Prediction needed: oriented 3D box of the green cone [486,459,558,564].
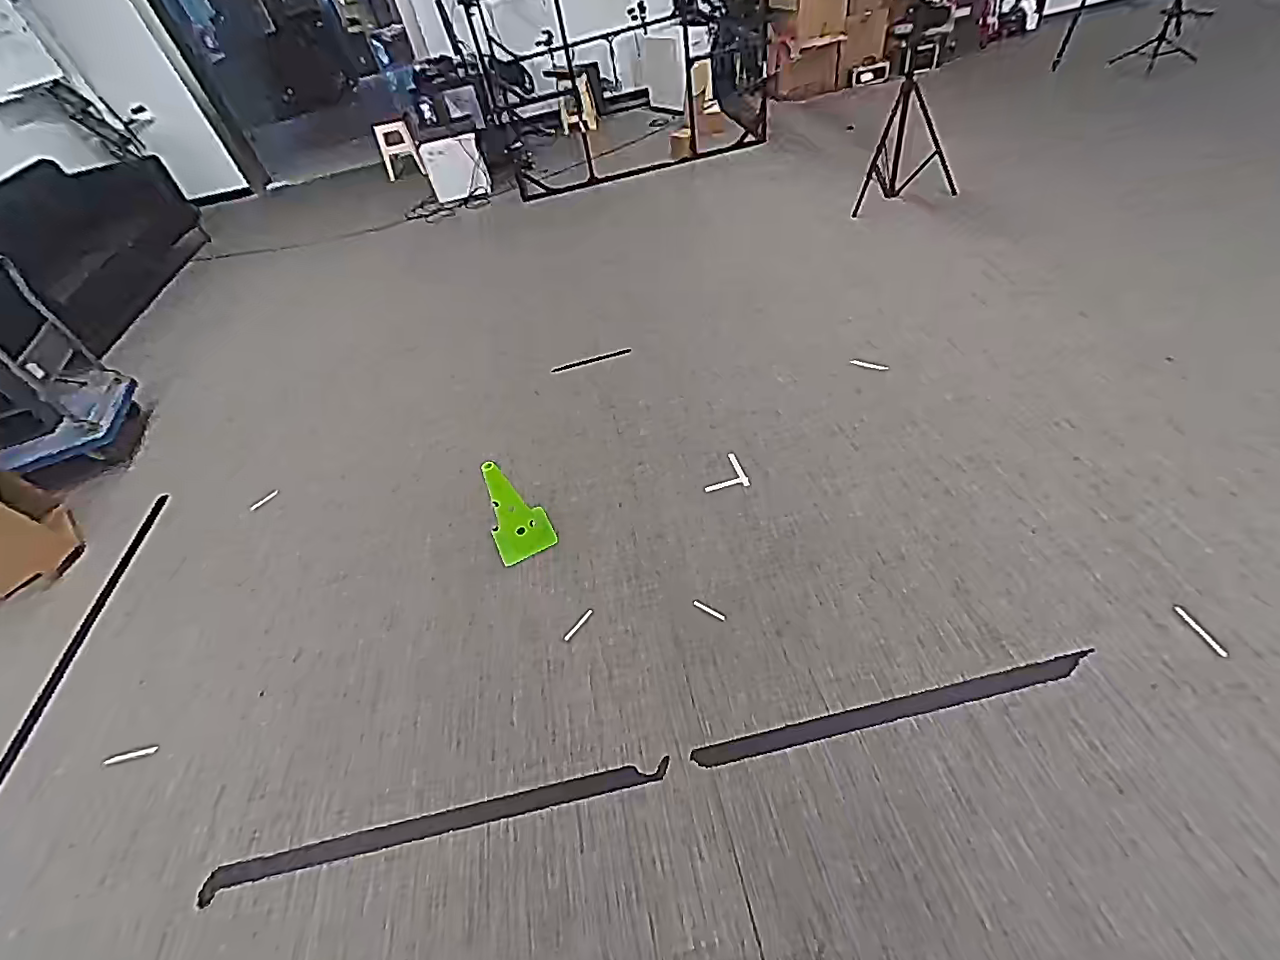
[{"bbox_3d":[-0.432,0.076,1.790,0.202,0.368,0.200,-25,47,-13],"label":"green cone"}]
